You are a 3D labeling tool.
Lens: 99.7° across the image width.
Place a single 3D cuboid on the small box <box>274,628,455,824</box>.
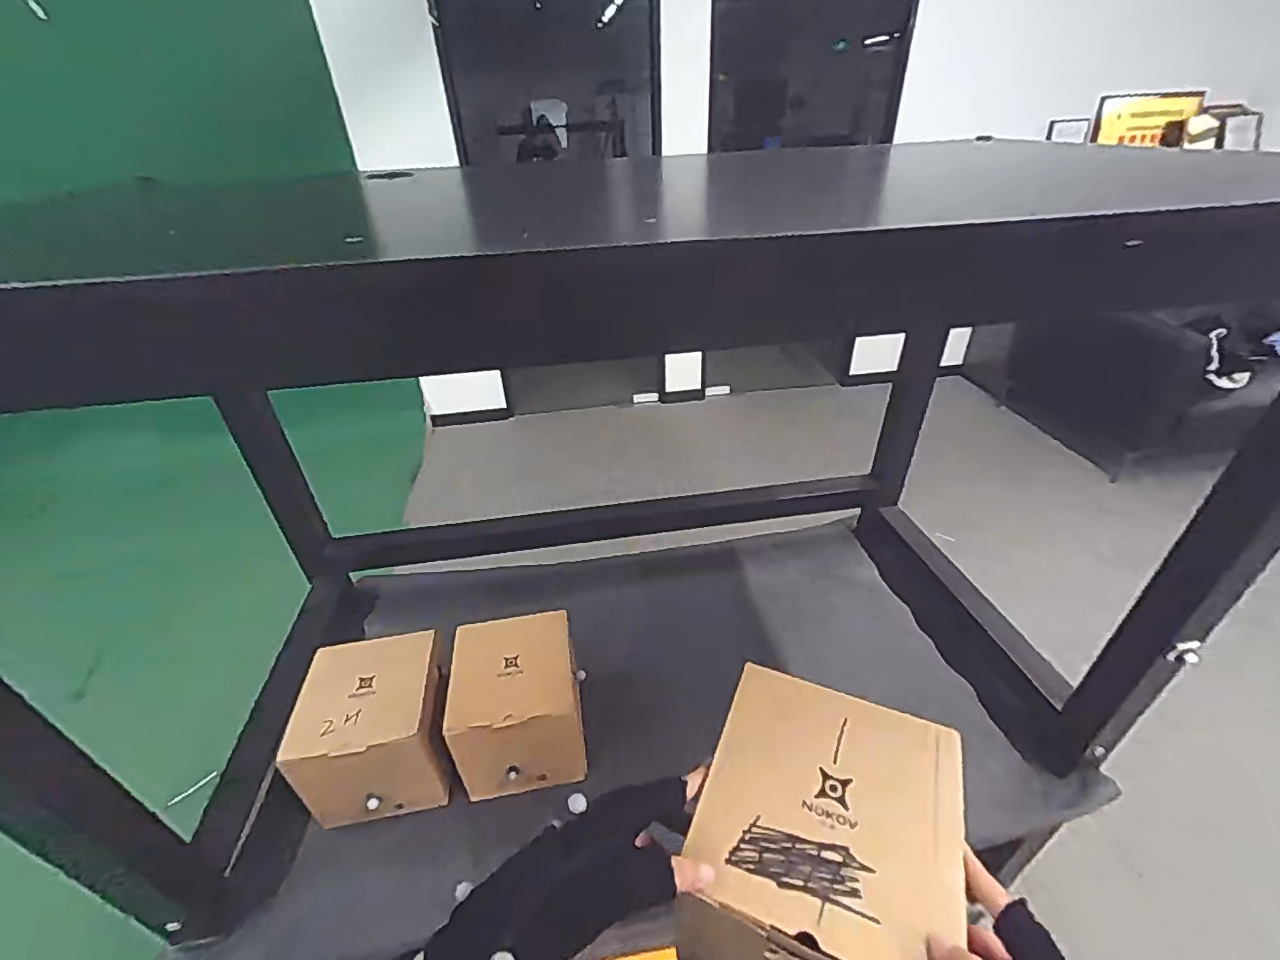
[{"bbox_3d":[-0.366,0.341,0.762,0.168,0.176,0.179,-7,34,-7],"label":"small box"}]
